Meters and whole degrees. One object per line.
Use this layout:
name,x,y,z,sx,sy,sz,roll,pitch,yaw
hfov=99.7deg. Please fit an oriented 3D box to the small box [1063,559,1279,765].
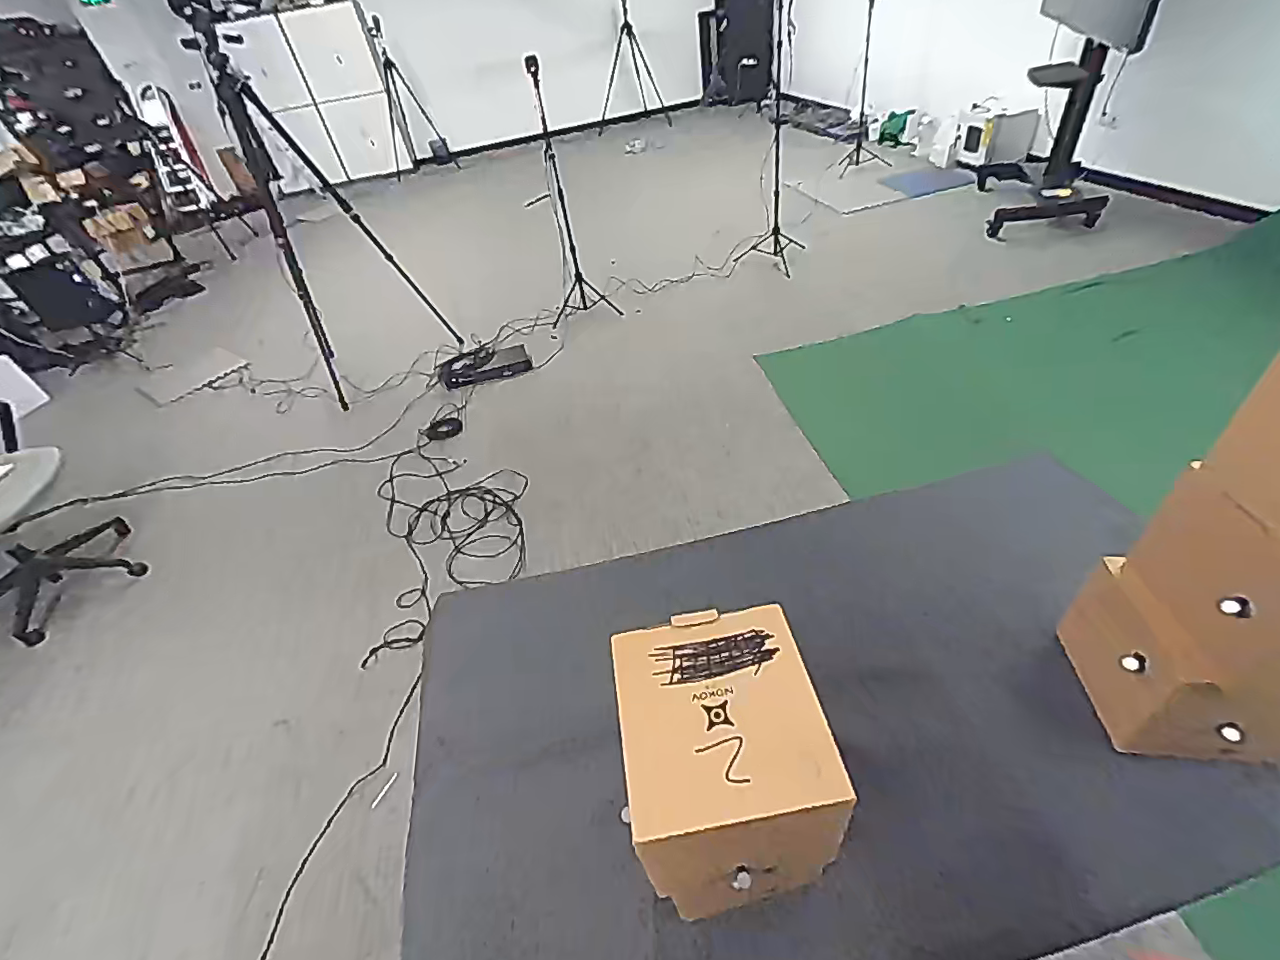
small box,0.655,0.215,0.644,0.168,0.176,0.179,-1,40,11

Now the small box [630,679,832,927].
small box,0.095,0.364,0.614,0.168,0.176,0.179,-15,42,-4

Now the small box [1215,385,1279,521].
small box,0.635,-0.024,0.420,0.168,0.176,0.179,-8,41,3

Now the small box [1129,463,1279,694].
small box,0.651,0.096,0.532,0.168,0.176,0.179,-4,40,7
